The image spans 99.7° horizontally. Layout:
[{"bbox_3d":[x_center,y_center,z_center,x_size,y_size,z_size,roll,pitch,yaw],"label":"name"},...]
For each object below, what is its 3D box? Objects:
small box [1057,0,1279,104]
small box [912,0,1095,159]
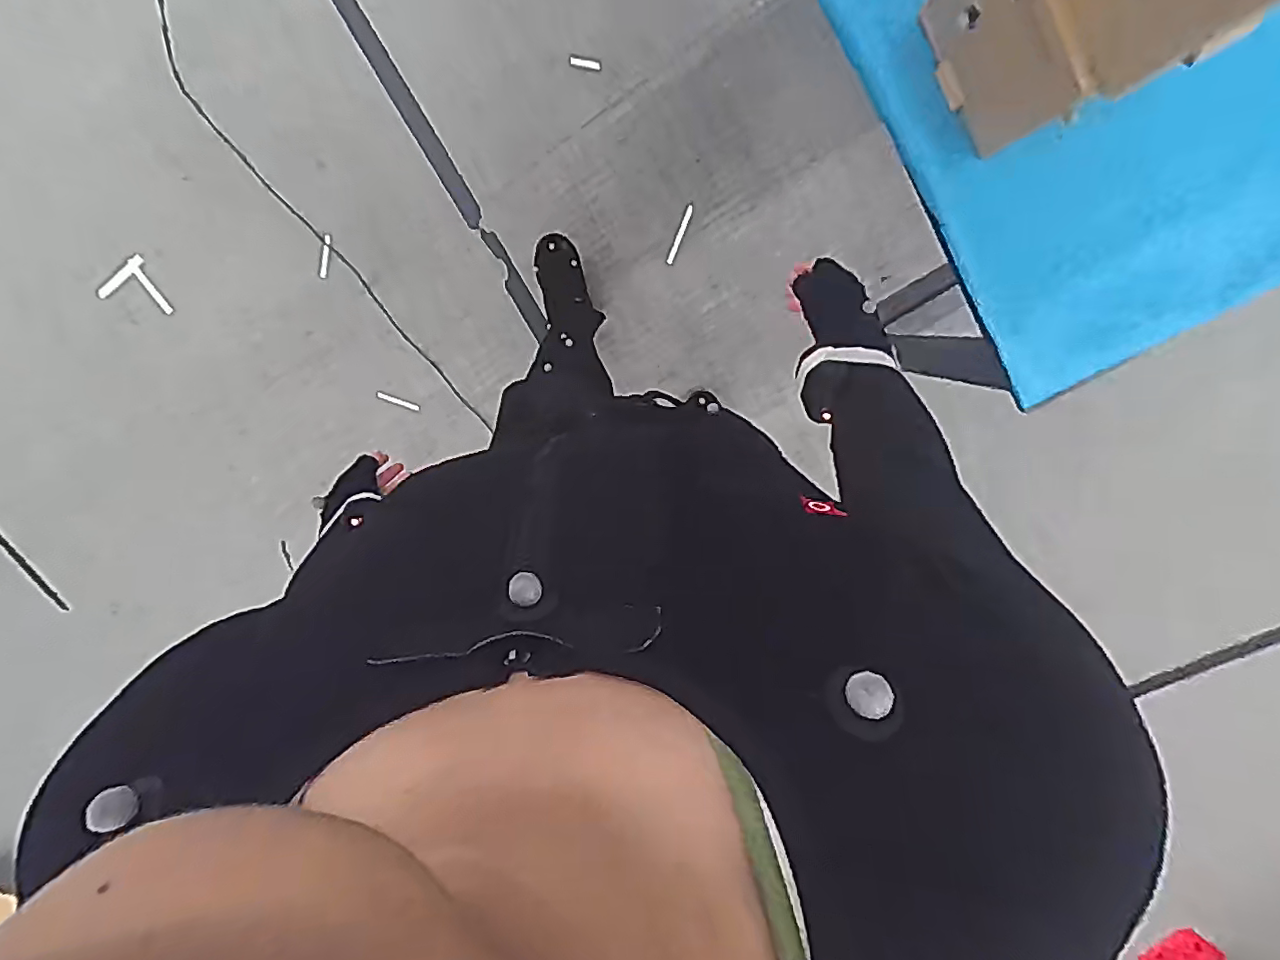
[{"bbox_3d":[0.389,-0.392,0.326,0.168,0.176,0.179,-29,99,10],"label":"small box"},{"bbox_3d":[0.391,-0.438,0.483,0.179,0.176,0.168,-30,102,11],"label":"small box"}]
